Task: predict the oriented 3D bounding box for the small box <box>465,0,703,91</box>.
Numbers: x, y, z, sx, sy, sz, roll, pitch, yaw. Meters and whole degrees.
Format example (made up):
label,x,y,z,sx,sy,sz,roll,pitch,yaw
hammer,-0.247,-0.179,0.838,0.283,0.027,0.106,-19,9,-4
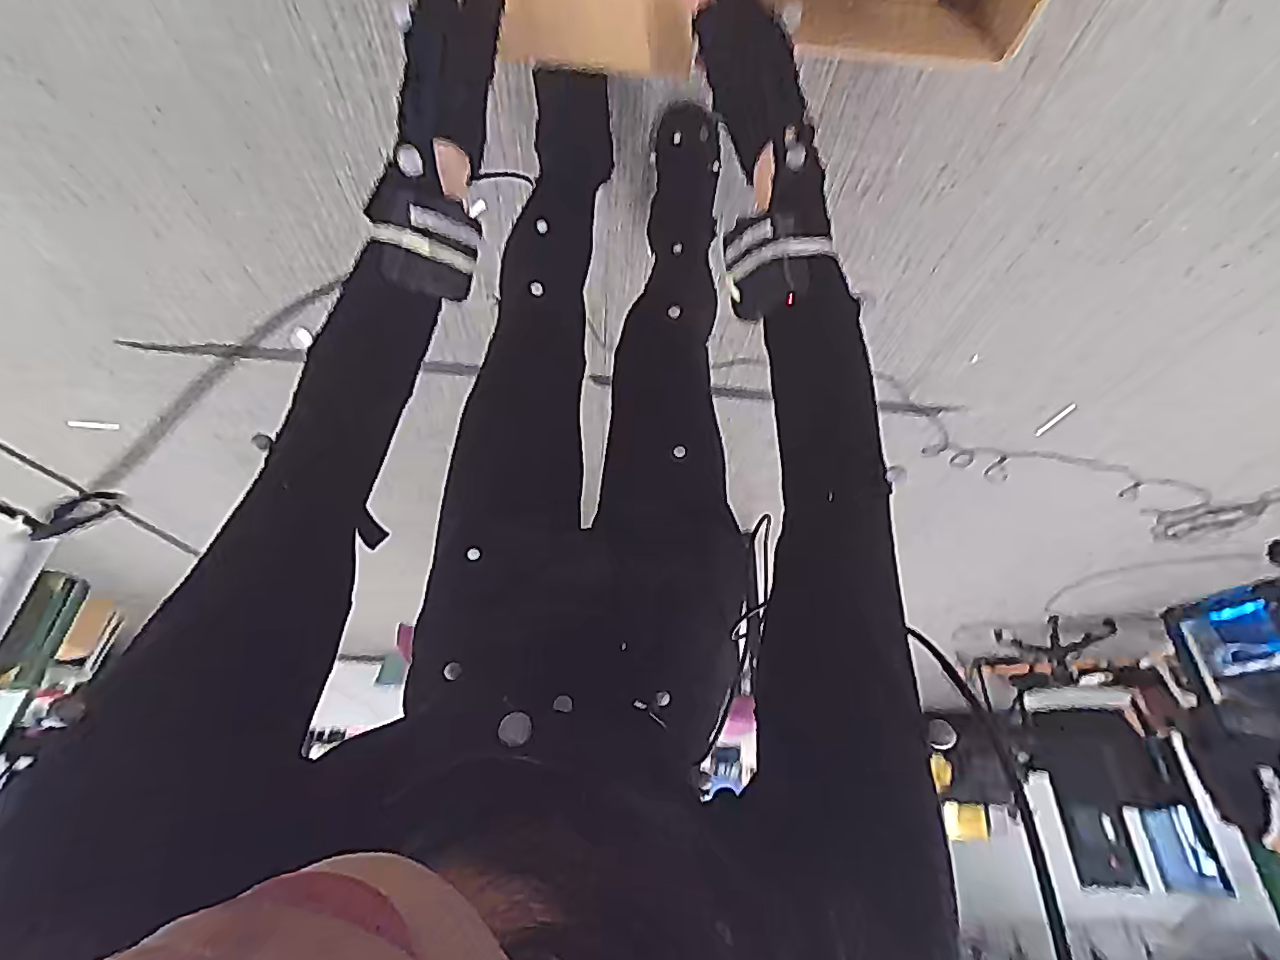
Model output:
label,x,y,z,sx,sy,sz,roll,pitch,yaw
small box,-0.041,-0.429,0.434,0.179,0.176,0.168,2,131,-2
